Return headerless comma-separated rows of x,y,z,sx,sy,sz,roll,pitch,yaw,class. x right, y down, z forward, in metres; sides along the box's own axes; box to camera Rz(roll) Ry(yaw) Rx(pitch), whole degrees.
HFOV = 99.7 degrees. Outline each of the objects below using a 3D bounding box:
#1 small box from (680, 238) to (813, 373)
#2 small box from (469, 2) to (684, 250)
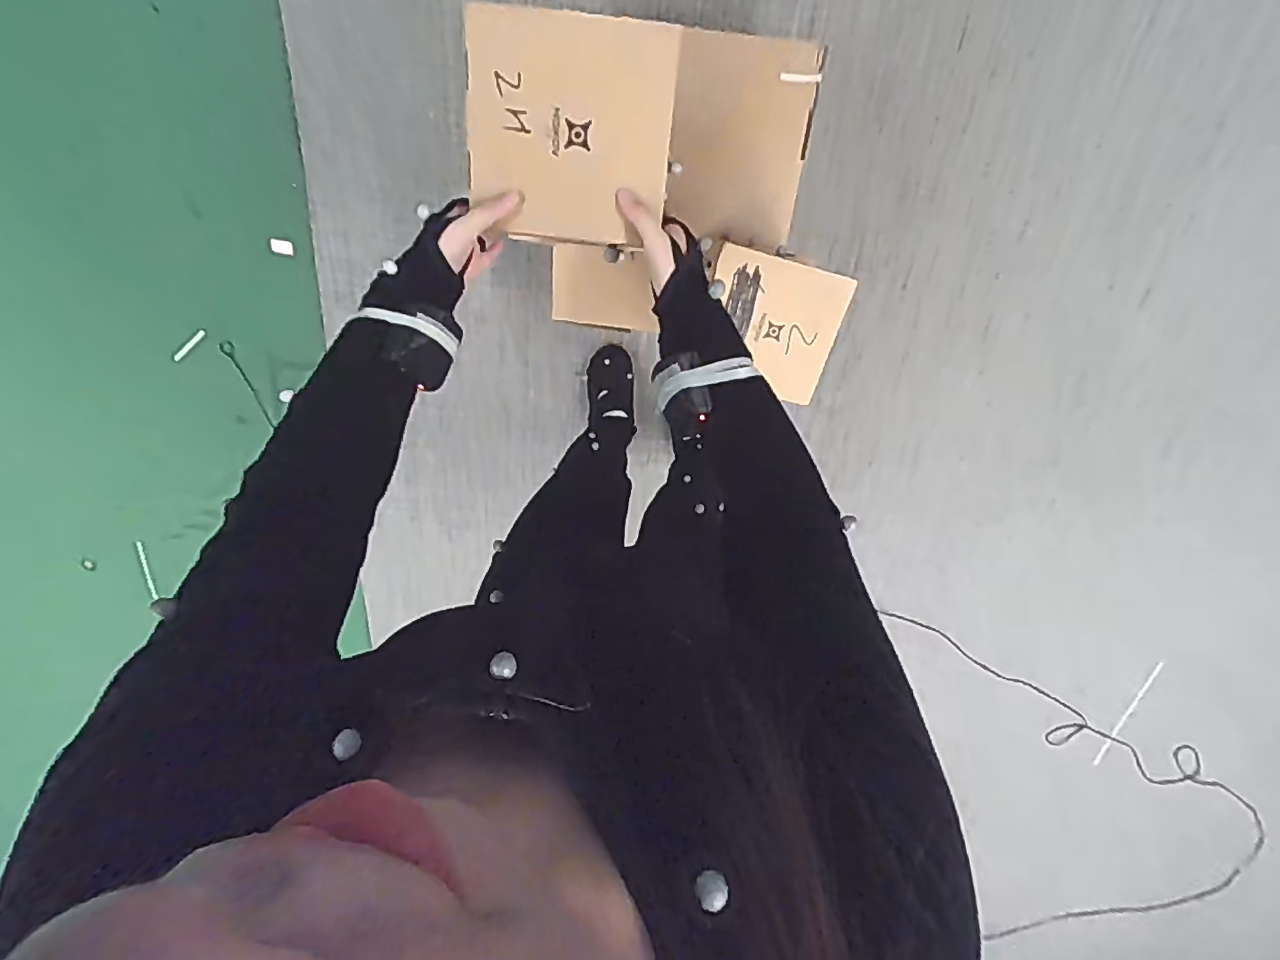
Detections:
0.164,-0.294,0.901,0.168,0.176,0.179,10,114,-3,small box
-0.058,-0.327,0.536,0.179,0.176,0.168,6,112,-1,small box
